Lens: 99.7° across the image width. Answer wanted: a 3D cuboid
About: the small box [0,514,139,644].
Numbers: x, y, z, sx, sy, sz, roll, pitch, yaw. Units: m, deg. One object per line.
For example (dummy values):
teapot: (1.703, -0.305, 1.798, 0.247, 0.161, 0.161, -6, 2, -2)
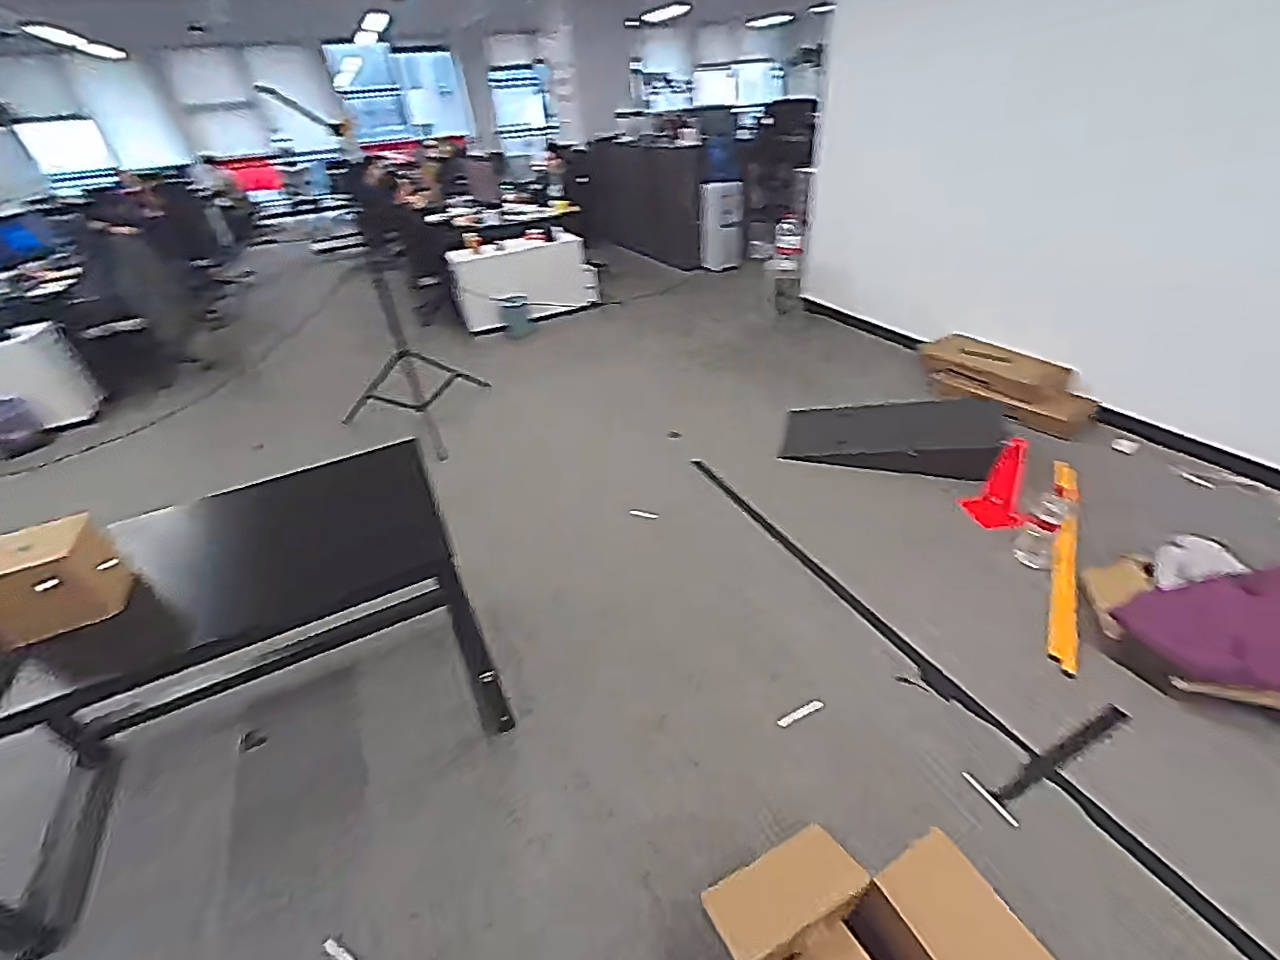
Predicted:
small box: (-1.209, 0.205, 1.130, 0.179, 0.176, 0.168, -19, 37, -20)
